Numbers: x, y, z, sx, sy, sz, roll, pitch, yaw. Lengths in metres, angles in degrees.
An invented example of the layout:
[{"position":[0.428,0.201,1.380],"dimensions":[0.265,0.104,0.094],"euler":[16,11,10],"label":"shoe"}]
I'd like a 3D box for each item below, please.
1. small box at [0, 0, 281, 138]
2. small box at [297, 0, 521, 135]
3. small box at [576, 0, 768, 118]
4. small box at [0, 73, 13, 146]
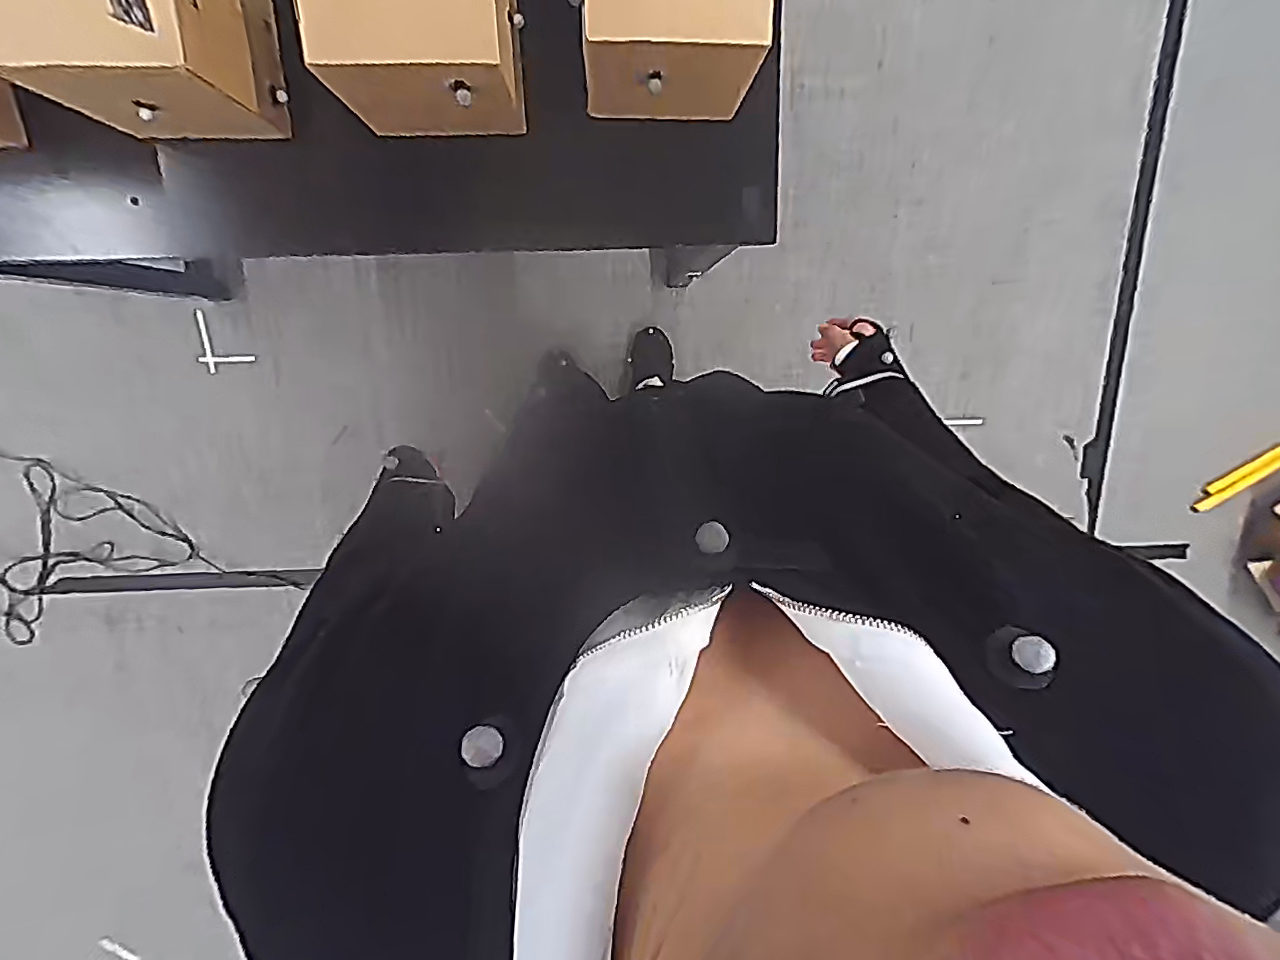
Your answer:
[{"position":[-0.490,-0.459,0.533],"dimensions":[0.179,0.176,0.168],"euler":[-2,104,-2],"label":"small box"},{"position":[-0.220,-0.472,0.547],"dimensions":[0.179,0.176,0.168],"euler":[-3,103,-3],"label":"small box"},{"position":[0.027,-0.498,0.557],"dimensions":[0.179,0.176,0.168],"euler":[-1,104,-2],"label":"small box"},{"position":[-0.784,-0.436,0.520],"dimensions":[0.179,0.176,0.168],"euler":[-5,103,-2],"label":"small box"}]
